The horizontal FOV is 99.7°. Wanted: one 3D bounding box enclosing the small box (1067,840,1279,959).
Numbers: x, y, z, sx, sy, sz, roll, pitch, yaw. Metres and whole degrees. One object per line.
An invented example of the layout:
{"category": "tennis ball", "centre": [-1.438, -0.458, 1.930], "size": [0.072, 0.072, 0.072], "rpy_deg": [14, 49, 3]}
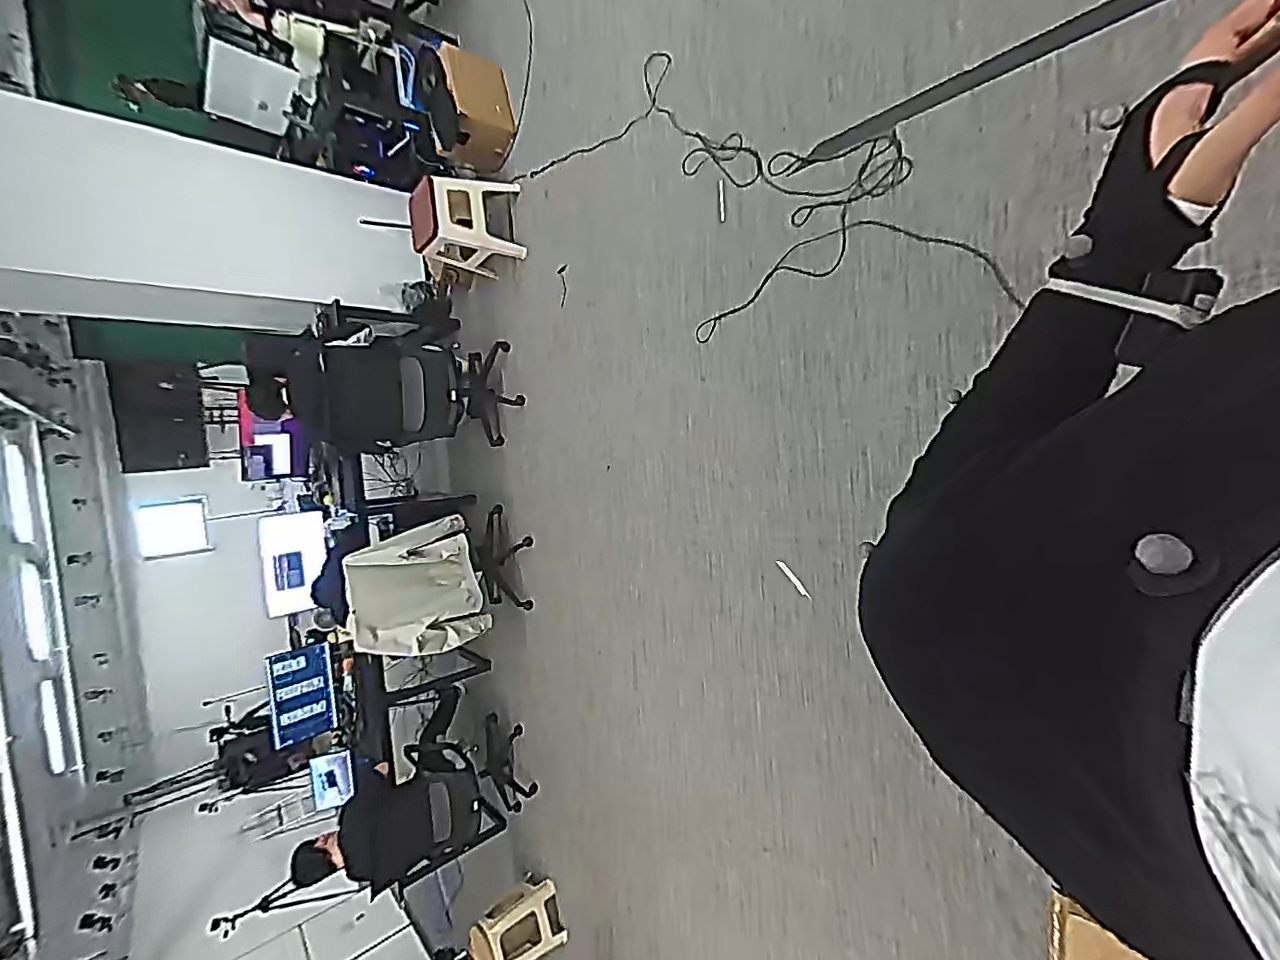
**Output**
{"category": "small box", "centre": [0.624, 0.582, 0.637], "size": [0.168, 0.176, 0.179], "rpy_deg": [1, 95, 48]}
